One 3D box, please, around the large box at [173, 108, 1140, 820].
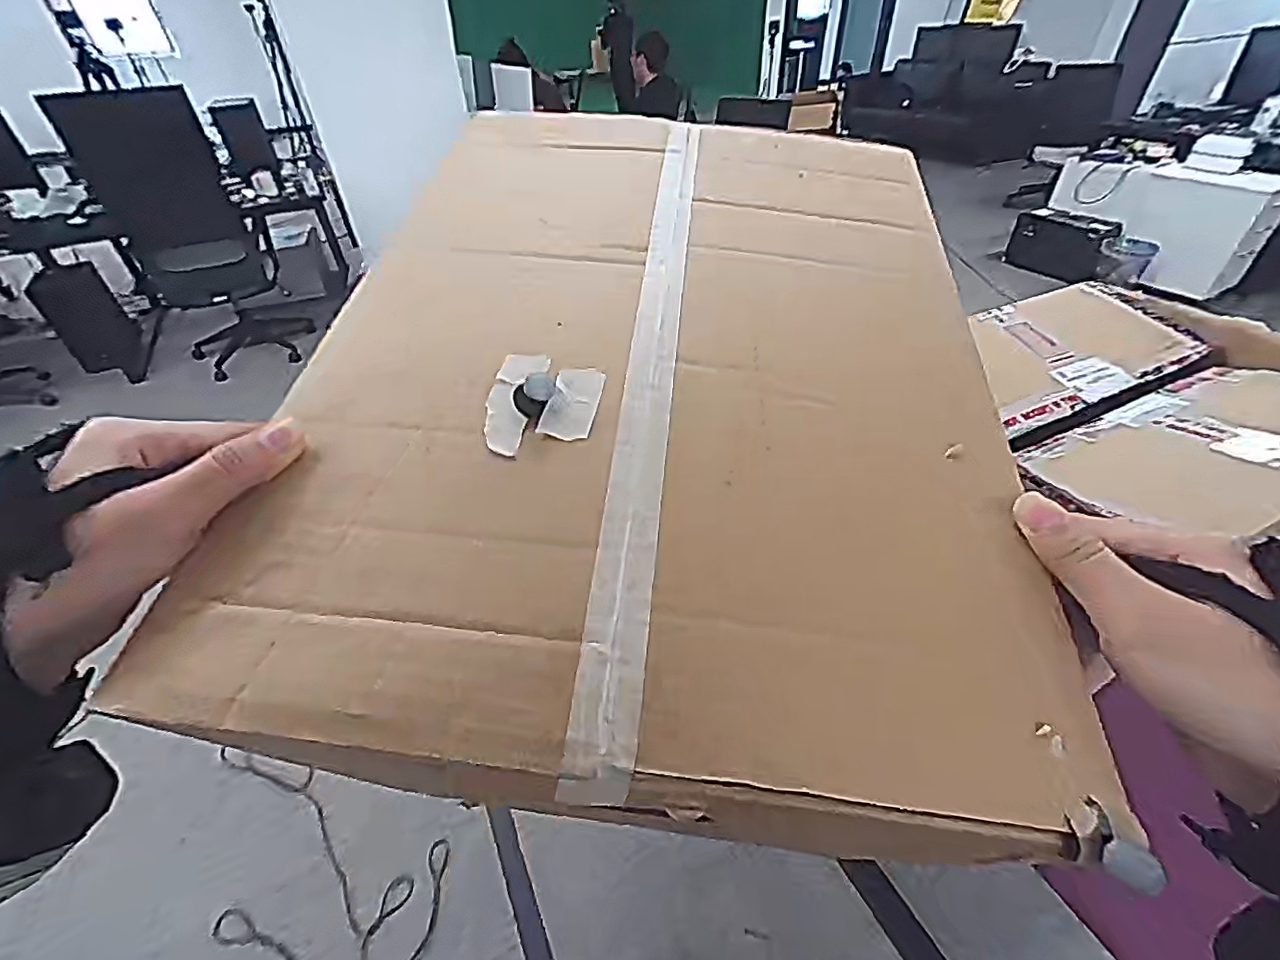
[{"bbox_3d":[0.013,-0.003,0.399,0.320,0.320,0.408,5,57,3],"label":"large box"}]
